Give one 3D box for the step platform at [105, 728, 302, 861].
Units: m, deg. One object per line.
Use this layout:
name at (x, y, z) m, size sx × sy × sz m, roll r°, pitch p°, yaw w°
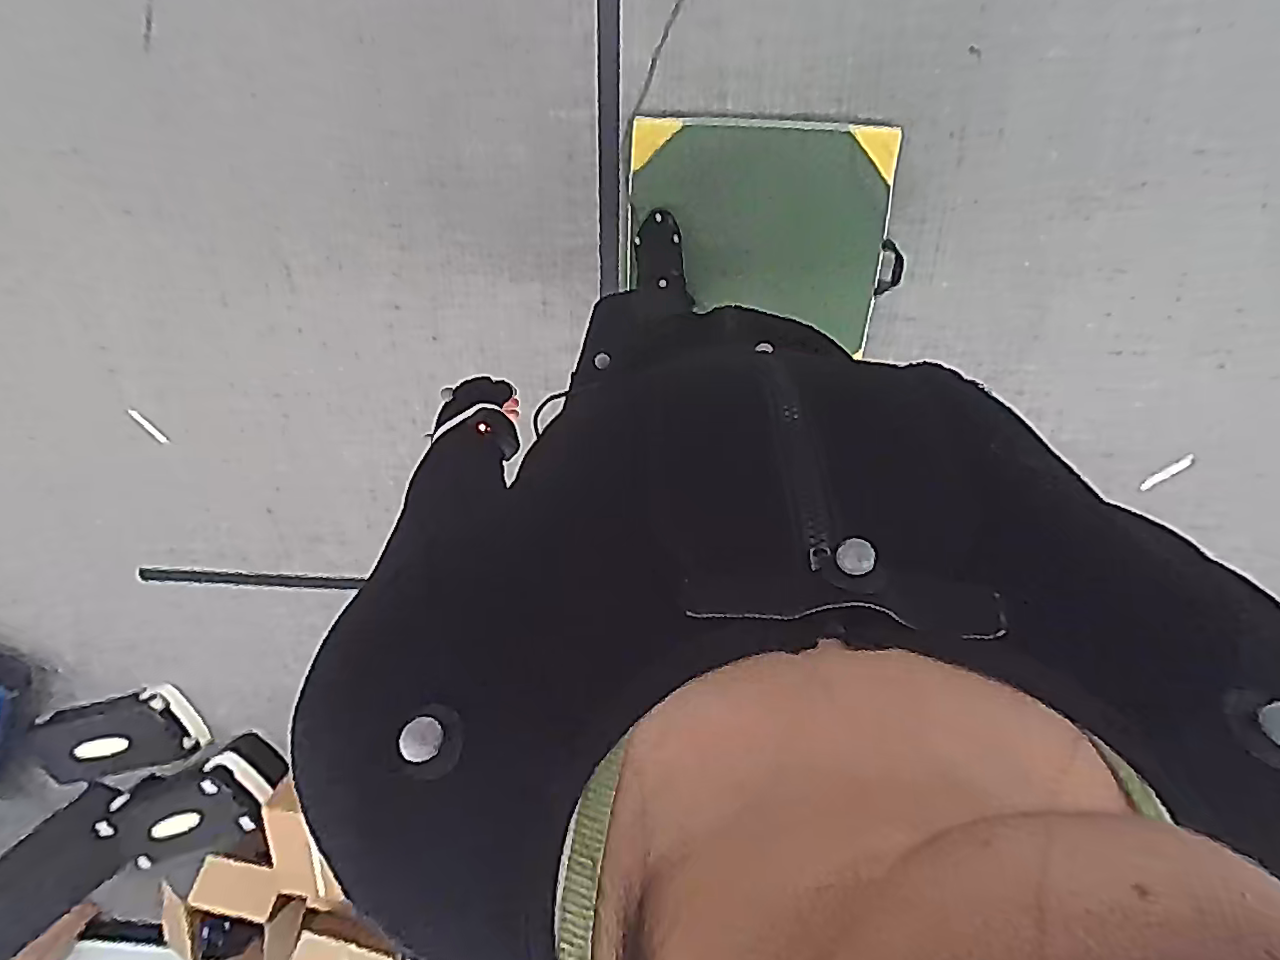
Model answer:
step platform at (-1.675, 1.213, 2.075) m, size 0.684 × 0.204 × 0.286 m, roll -26°, pitch 107°, yaw 13°
